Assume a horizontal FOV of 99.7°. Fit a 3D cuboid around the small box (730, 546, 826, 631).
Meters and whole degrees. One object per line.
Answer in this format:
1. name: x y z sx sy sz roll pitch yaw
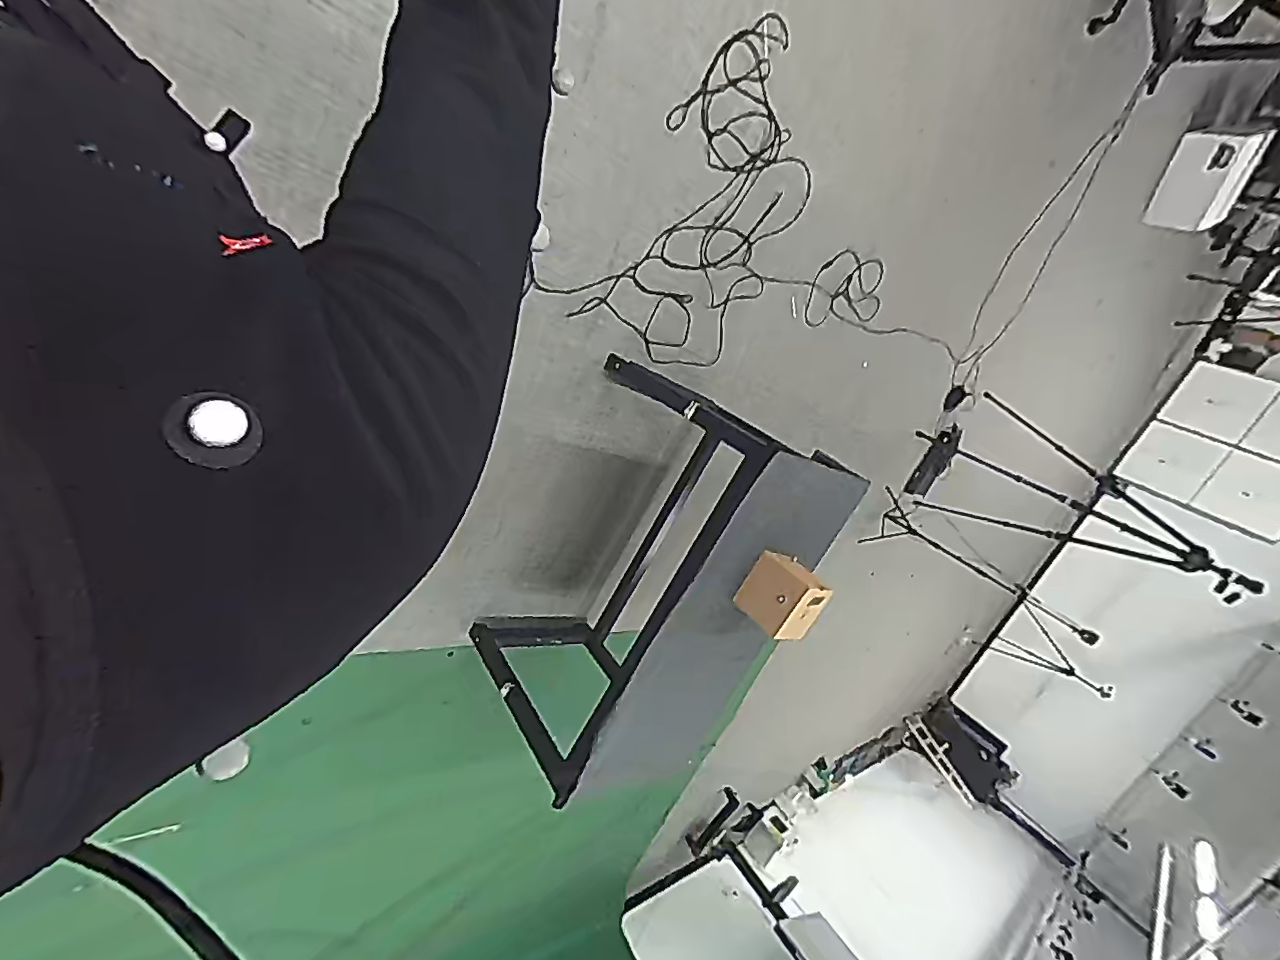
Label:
1. small box: 0.389 0.309 1.546 0.168 0.176 0.179 18 107 -47
